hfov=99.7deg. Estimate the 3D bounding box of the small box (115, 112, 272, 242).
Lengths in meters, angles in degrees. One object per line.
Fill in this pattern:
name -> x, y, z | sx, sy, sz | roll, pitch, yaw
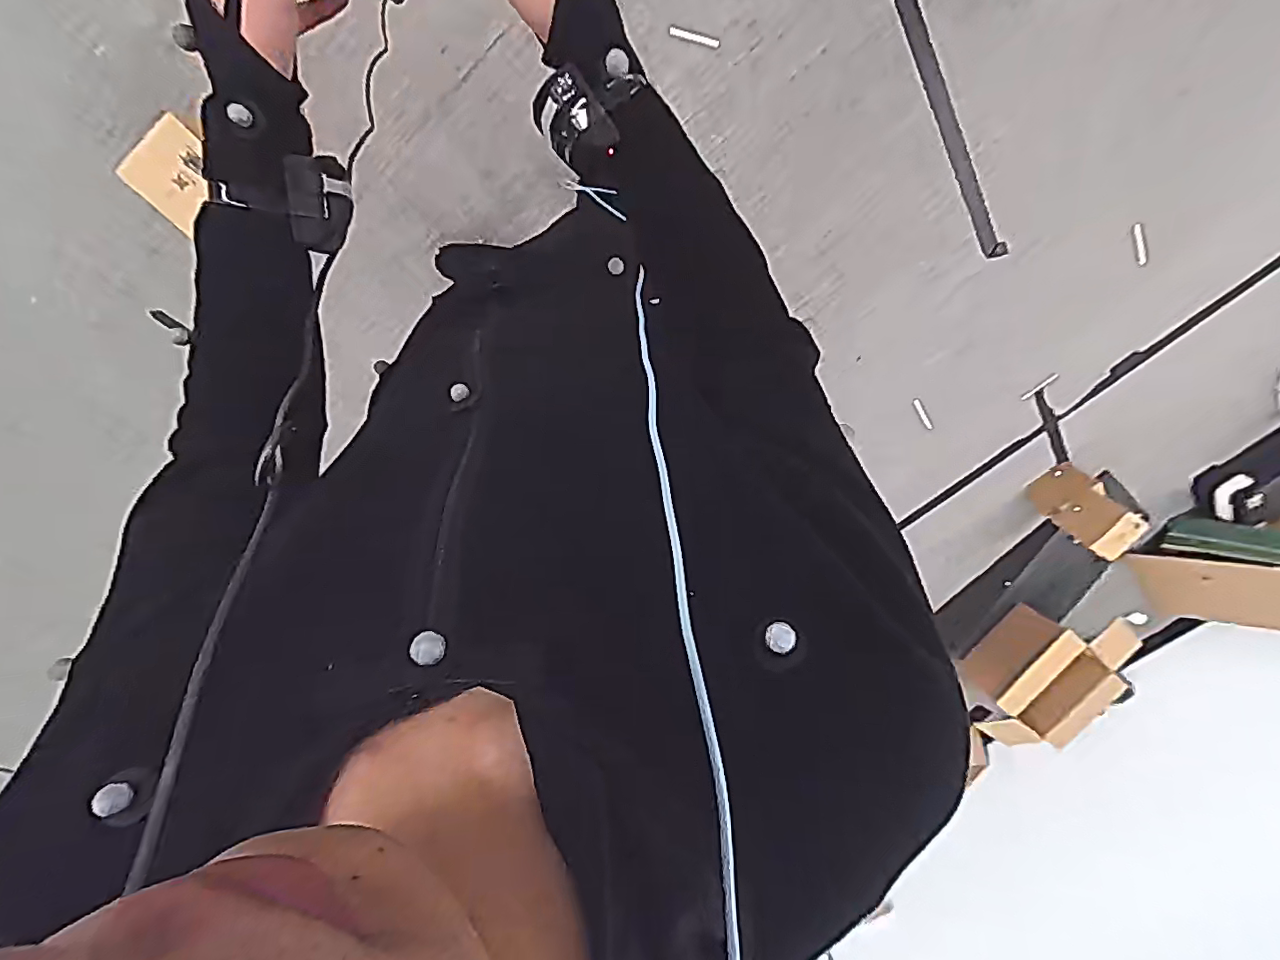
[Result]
small box -> -0.923, -0.640, 1.141 | 0.179, 0.176, 0.168 | -35, 122, 12
